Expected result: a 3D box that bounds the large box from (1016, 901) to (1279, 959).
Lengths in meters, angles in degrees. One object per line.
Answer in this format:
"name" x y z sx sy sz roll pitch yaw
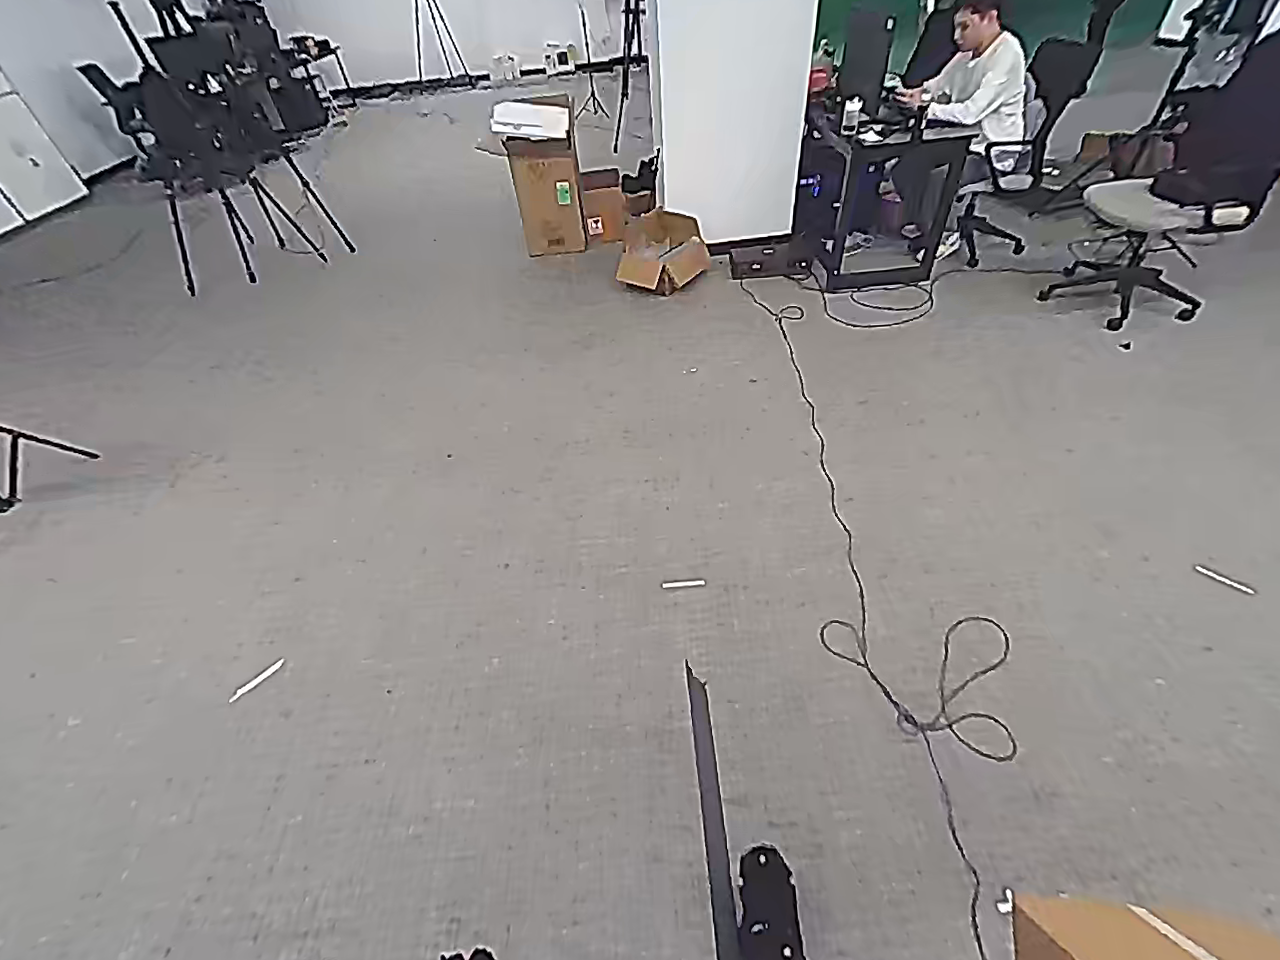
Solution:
"large box" 0.642 0.707 0.519 0.320 0.408 0.320 3 79 5
